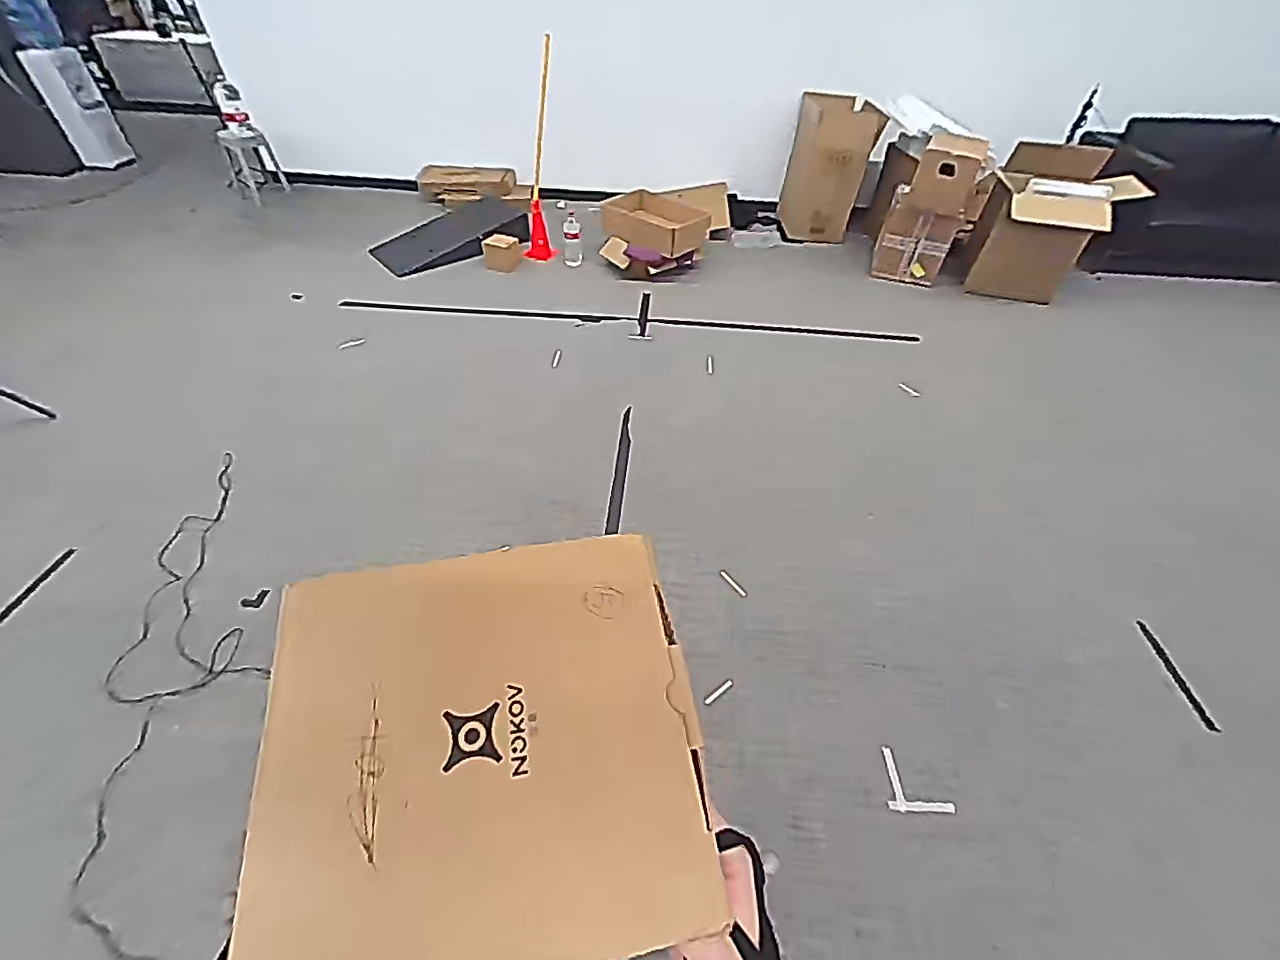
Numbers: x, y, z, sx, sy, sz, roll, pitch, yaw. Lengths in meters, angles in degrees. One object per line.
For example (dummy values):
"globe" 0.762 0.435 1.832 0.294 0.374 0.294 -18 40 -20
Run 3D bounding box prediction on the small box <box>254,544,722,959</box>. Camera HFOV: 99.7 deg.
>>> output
"small box" -0.071 0.155 0.306 0.179 0.176 0.168 -9 59 -8
